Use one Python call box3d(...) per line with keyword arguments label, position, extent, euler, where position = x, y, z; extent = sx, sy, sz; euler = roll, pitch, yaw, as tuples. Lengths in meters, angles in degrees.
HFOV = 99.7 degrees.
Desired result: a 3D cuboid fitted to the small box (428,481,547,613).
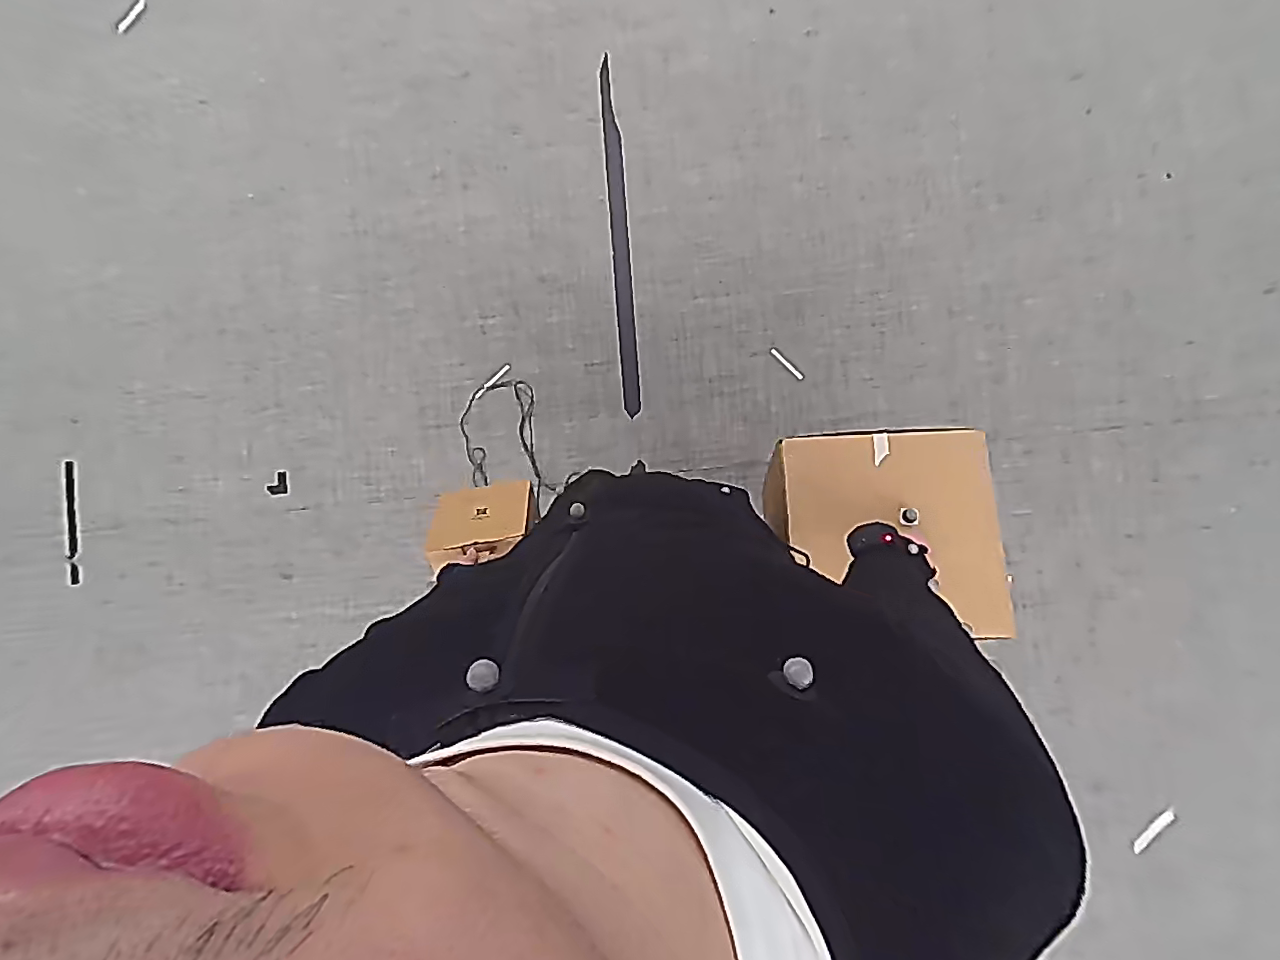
box3d(label="small box", position=(-0.270, 0.129, 1.004), extent=(0.168, 0.179, 0.176), euler=(-9, 123, -3))
